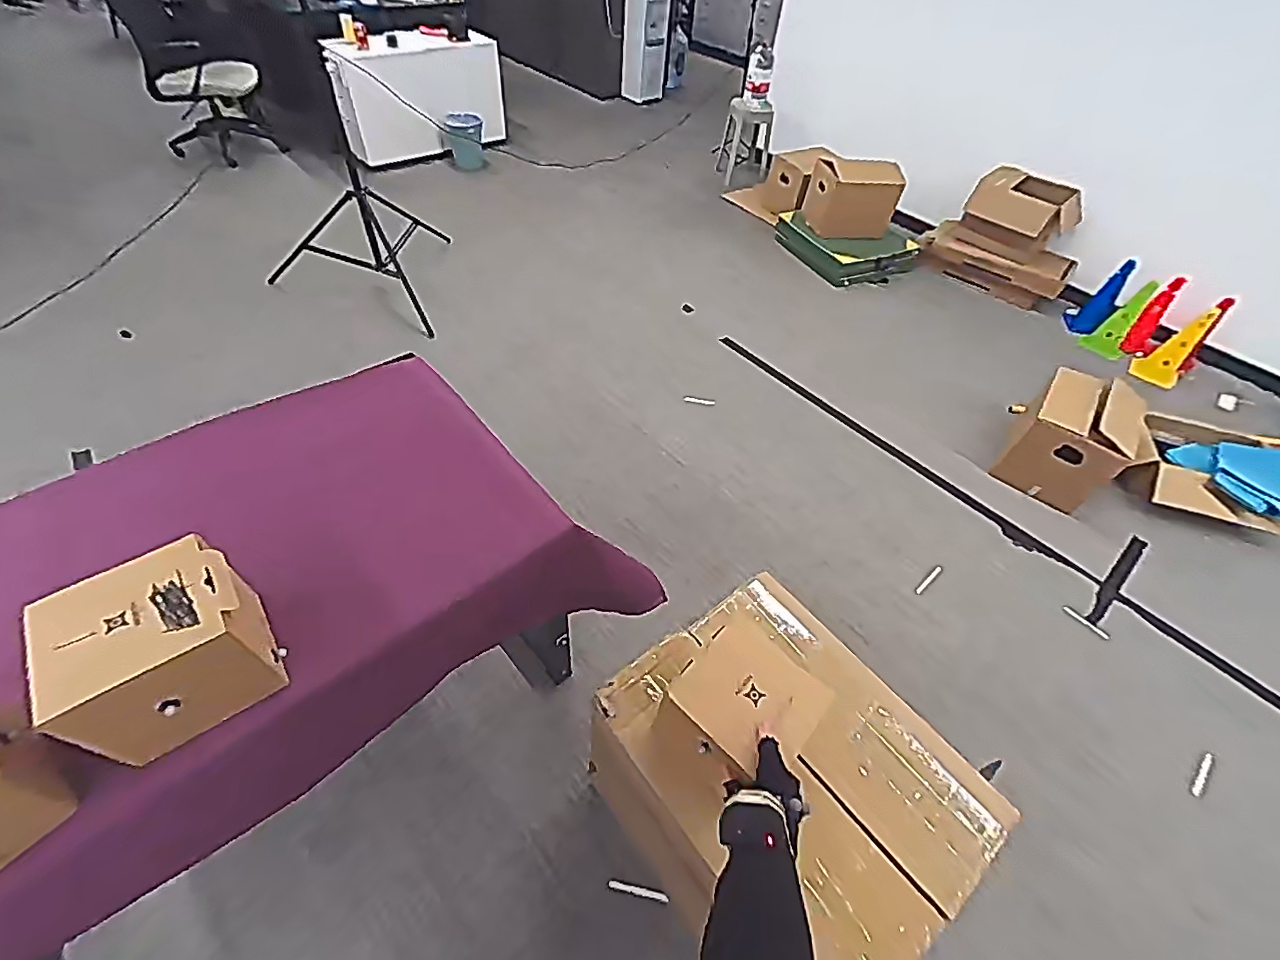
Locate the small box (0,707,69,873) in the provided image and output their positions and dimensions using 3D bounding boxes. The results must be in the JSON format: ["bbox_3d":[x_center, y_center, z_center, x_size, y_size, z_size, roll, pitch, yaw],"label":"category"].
[{"bbox_3d":[-0.753,0.336,0.552,0.168,0.176,0.179,32,52,21],"label":"small box"}]

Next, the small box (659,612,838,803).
[{"bbox_3d":[0.145,0.334,0.785,0.179,0.176,0.168,38,58,22],"label":"small box"}]

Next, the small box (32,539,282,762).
[{"bbox_3d":[-0.583,0.212,0.676,0.179,0.176,0.168,-29,57,-26],"label":"small box"}]
